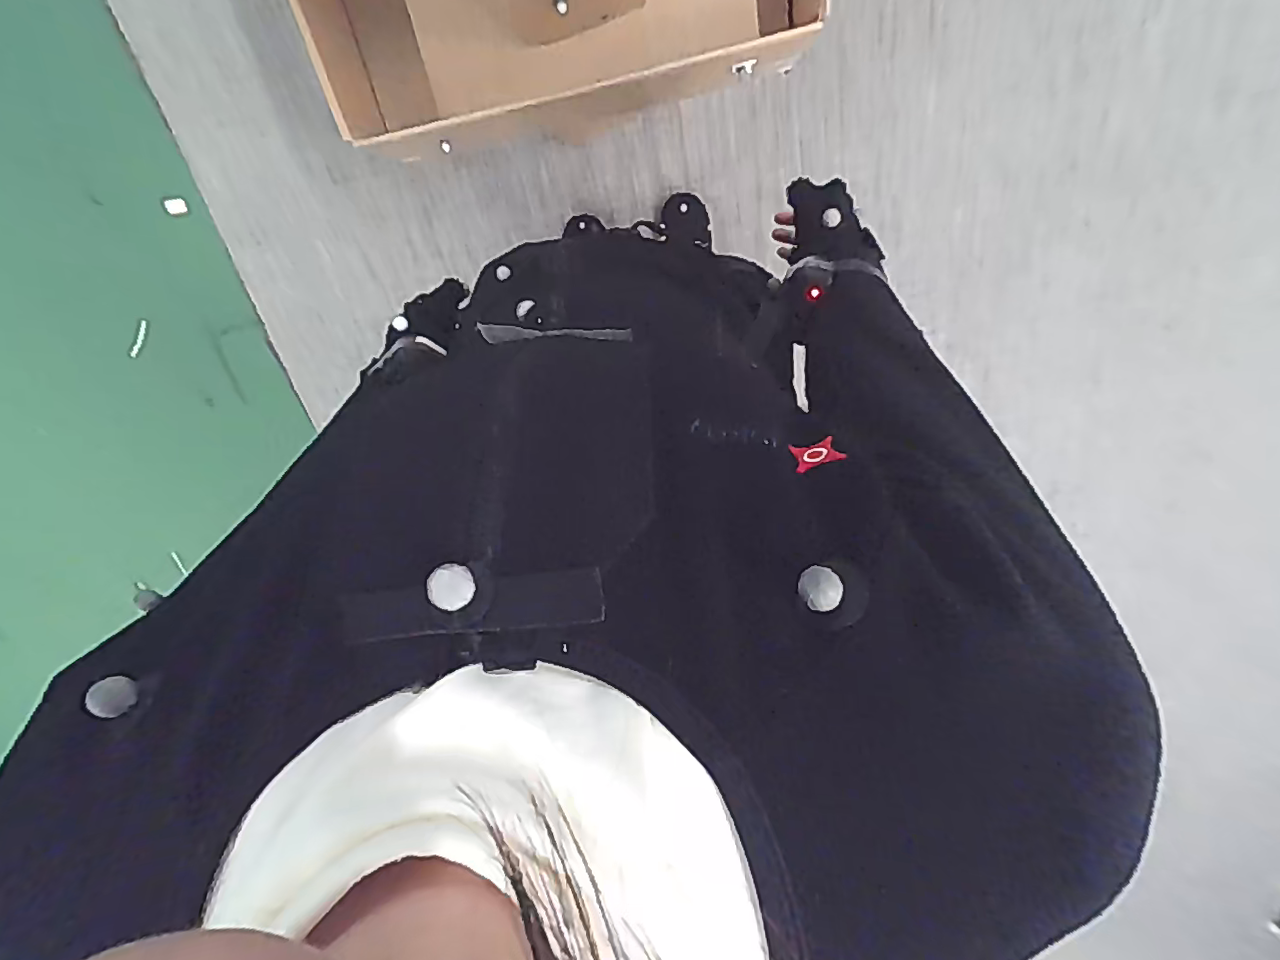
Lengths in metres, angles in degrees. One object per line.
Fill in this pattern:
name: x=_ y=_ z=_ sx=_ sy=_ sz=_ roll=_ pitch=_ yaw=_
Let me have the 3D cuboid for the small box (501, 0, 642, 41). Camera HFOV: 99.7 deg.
small box: x=-0.097 y=-0.666 z=0.634 sx=0.168 sy=0.176 sz=0.179 roll=-12 pitch=115 yaw=12
